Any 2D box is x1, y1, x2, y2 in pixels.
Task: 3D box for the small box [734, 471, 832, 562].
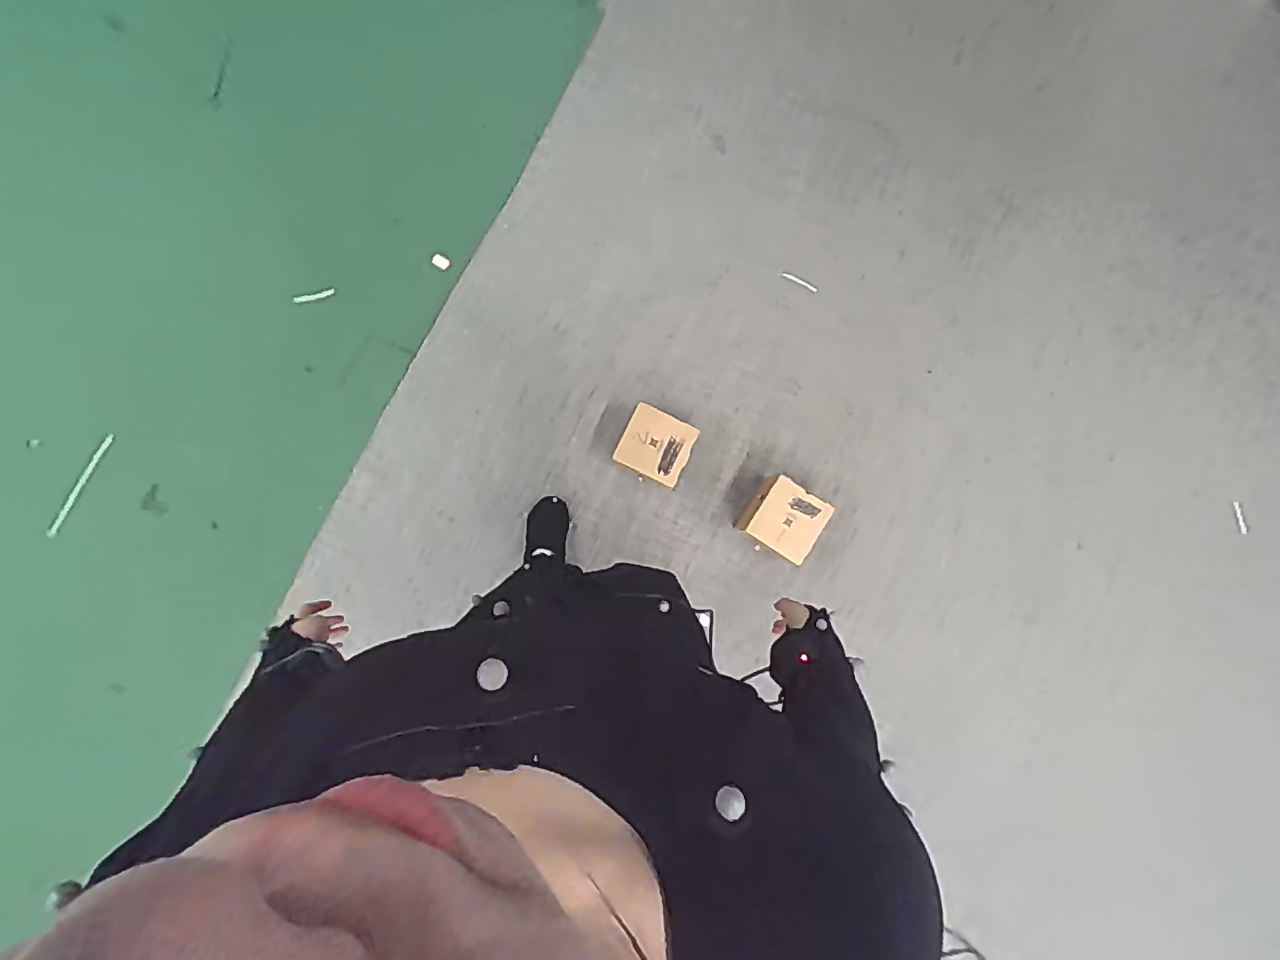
[{"bbox_3d":[0.371,0.094,1.441,0.168,0.176,0.179,33,88,1],"label":"small box"}]
